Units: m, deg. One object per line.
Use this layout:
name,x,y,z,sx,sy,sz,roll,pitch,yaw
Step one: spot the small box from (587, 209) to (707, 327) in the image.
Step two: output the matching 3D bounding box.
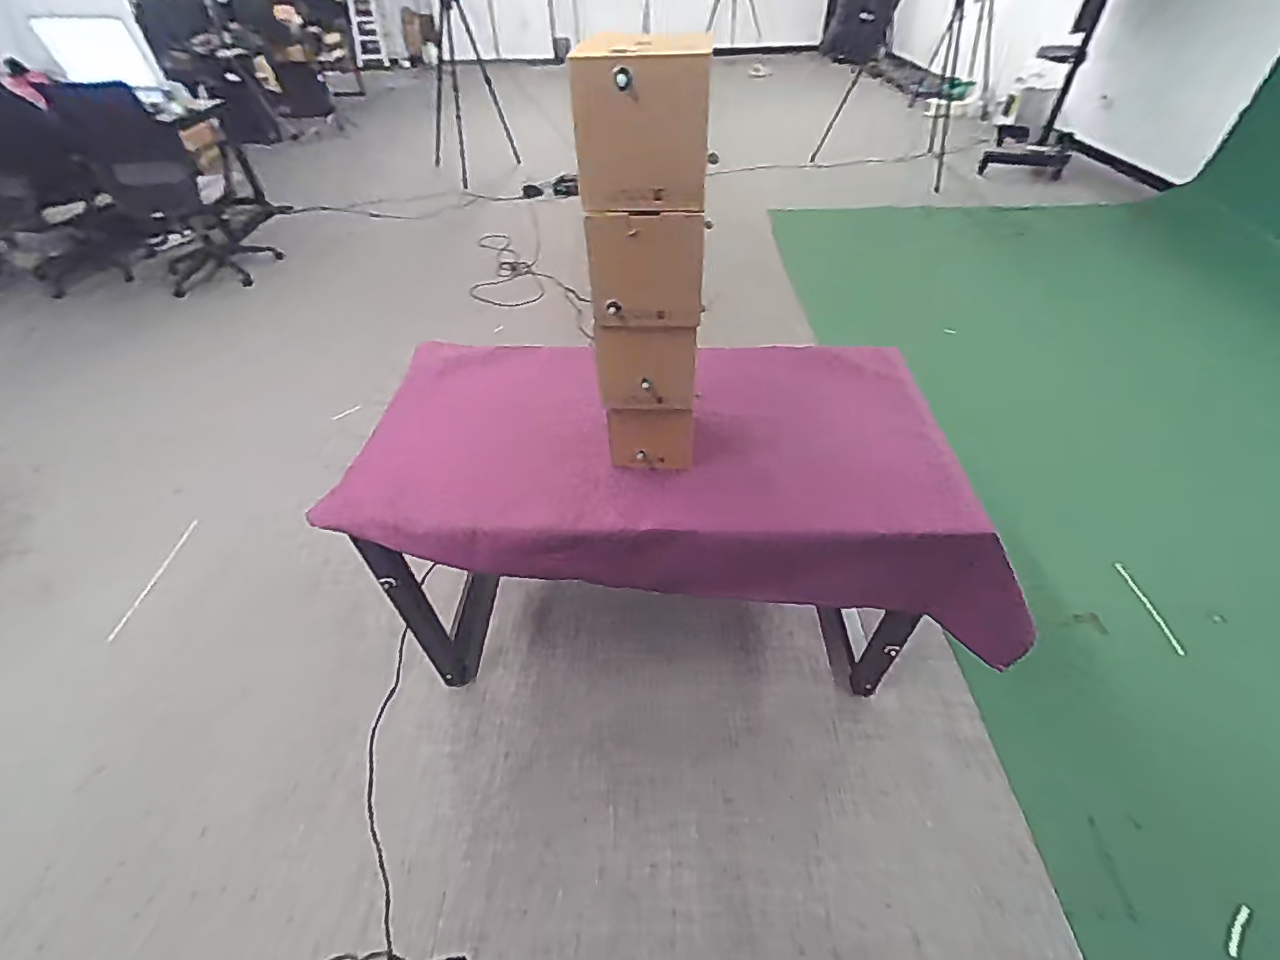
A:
small box,0.020,-0.351,0.839,0.168,0.176,0.179,2,44,5

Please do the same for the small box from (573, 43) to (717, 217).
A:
small box,0.015,-0.471,0.727,0.168,0.176,0.179,3,44,6

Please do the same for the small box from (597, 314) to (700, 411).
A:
small box,0.022,-0.242,0.962,0.168,0.176,0.179,1,45,5

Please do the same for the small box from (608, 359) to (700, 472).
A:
small box,0.032,-0.137,1.088,0.168,0.176,0.179,3,46,6
